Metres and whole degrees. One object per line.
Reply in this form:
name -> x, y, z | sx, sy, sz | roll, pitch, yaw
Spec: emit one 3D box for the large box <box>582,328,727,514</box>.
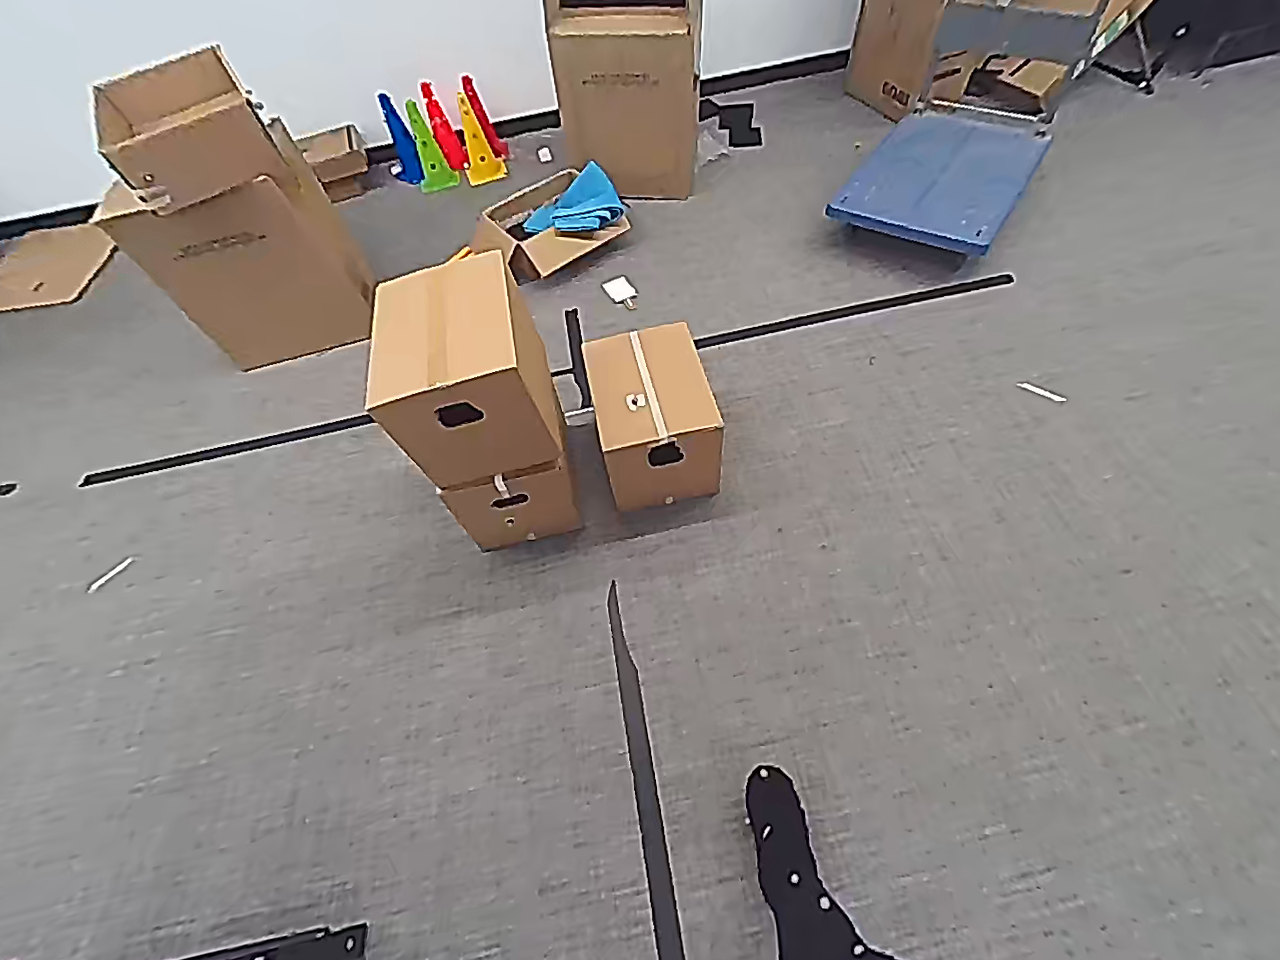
large box -> 0.038, -0.169, 1.567 | 0.320, 0.320, 0.408 | -13, 56, -2
